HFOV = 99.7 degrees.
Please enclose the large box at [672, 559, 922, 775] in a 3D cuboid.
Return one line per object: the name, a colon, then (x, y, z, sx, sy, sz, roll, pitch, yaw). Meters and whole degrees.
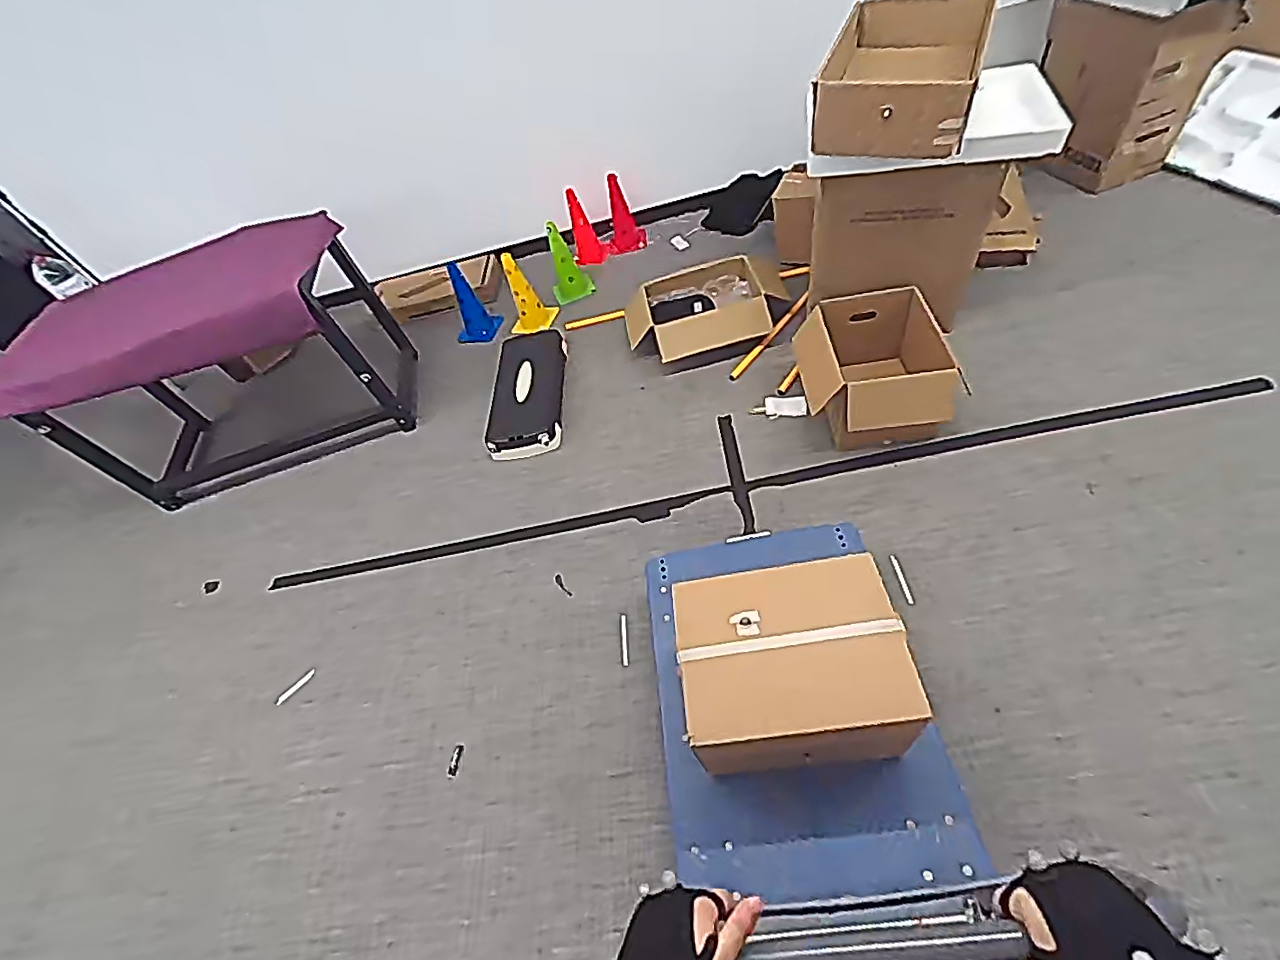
large box: (0.305, 0.403, 1.133, 0.408, 0.320, 0.320, -12, 50, 8)
